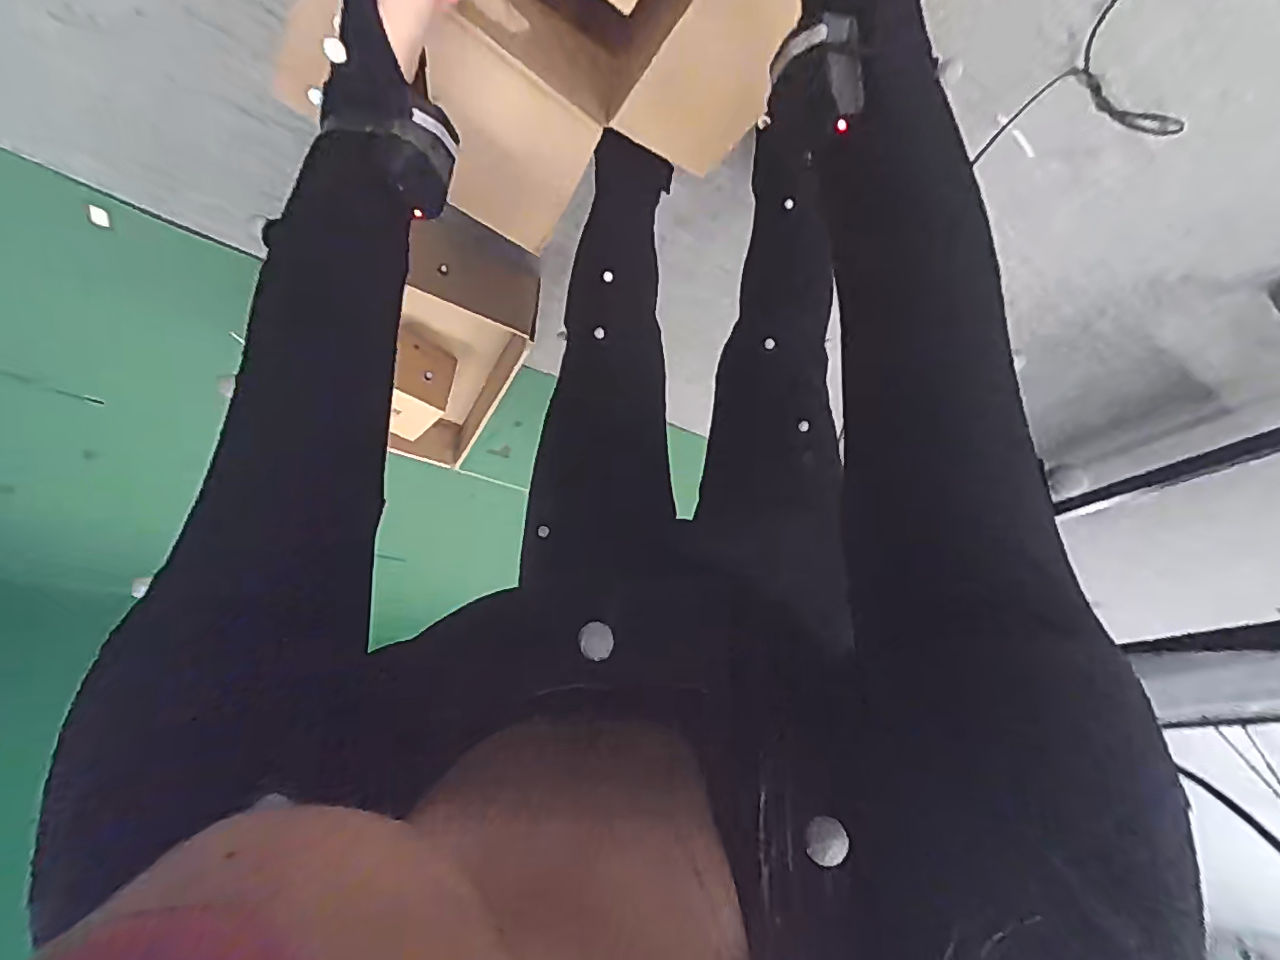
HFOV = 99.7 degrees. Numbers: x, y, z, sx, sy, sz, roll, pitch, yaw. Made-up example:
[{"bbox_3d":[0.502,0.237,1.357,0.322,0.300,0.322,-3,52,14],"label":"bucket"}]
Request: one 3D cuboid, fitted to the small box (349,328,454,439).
[{"bbox_3d":[-0.568,-0.232,1.305,0.168,0.176,0.179,27,140,-36],"label":"small box"}]
